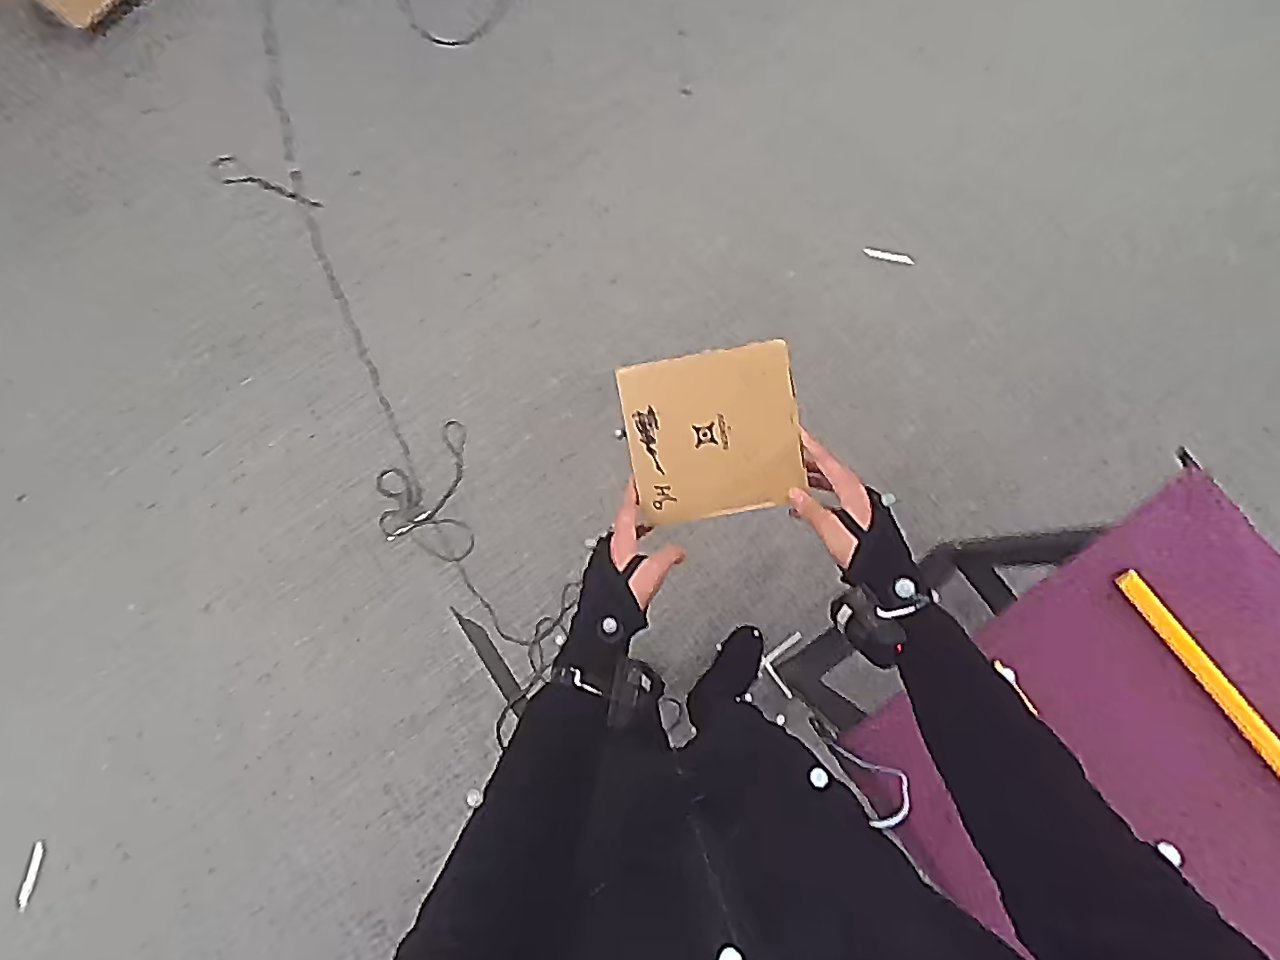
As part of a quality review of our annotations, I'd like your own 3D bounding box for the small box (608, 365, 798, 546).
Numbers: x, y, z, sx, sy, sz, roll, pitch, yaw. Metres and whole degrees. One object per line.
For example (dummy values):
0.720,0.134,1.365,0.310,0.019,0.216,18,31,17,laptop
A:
0.065,-0.031,0.633,0.179,0.176,0.168,-10,94,2,small box
